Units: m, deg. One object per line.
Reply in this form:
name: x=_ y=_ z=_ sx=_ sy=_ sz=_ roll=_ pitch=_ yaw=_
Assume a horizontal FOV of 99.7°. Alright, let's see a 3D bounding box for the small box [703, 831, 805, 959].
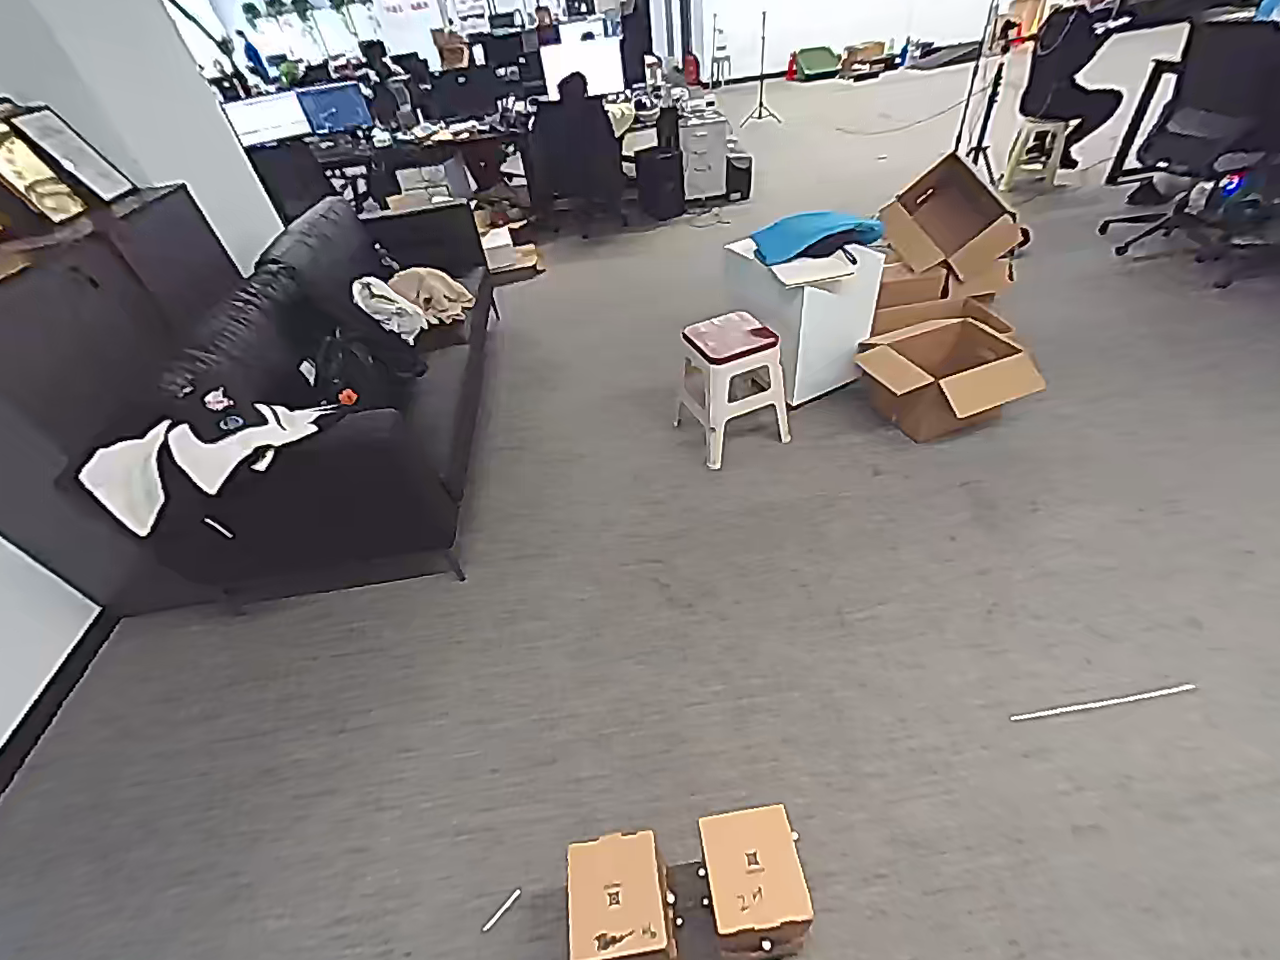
small box: x=0.230 y=0.863 z=1.120 sx=0.168 sy=0.176 sz=0.179 roll=-10 pitch=41 yaw=-1
